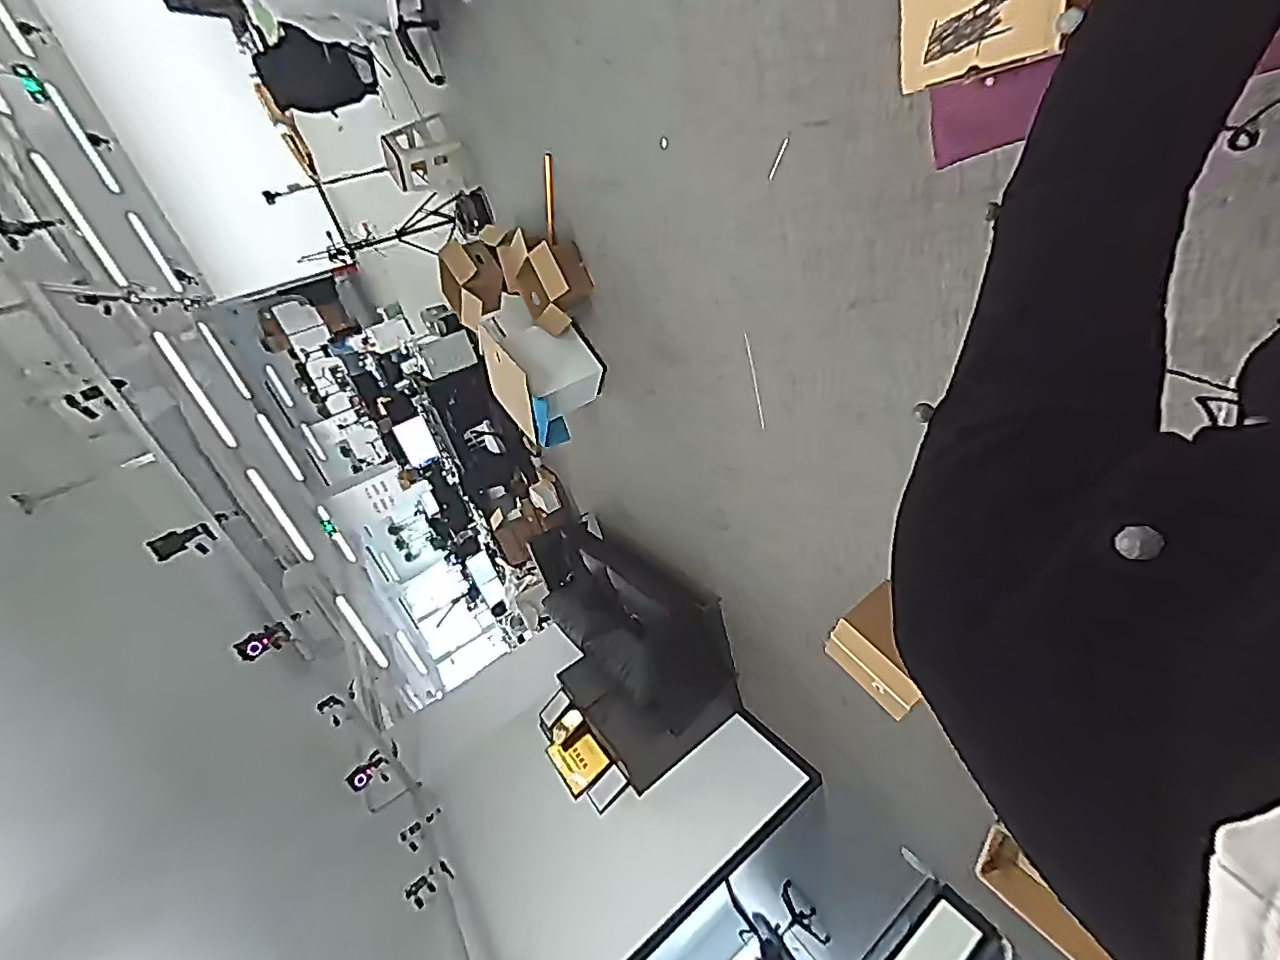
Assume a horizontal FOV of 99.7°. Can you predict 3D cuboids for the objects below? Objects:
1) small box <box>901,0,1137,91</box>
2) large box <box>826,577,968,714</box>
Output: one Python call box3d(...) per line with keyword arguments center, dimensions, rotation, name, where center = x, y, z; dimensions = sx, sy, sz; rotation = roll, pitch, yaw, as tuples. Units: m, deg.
box3d(center=(0.399, -0.542, 0.564), dimensions=(0.168, 0.176, 0.179), rotation=(28, 139, 51), name="small box")
box3d(center=(1.089, 0.702, 2.329), dimensions=(0.408, 0.320, 0.320), rotation=(43, 152, 33), name="large box")
